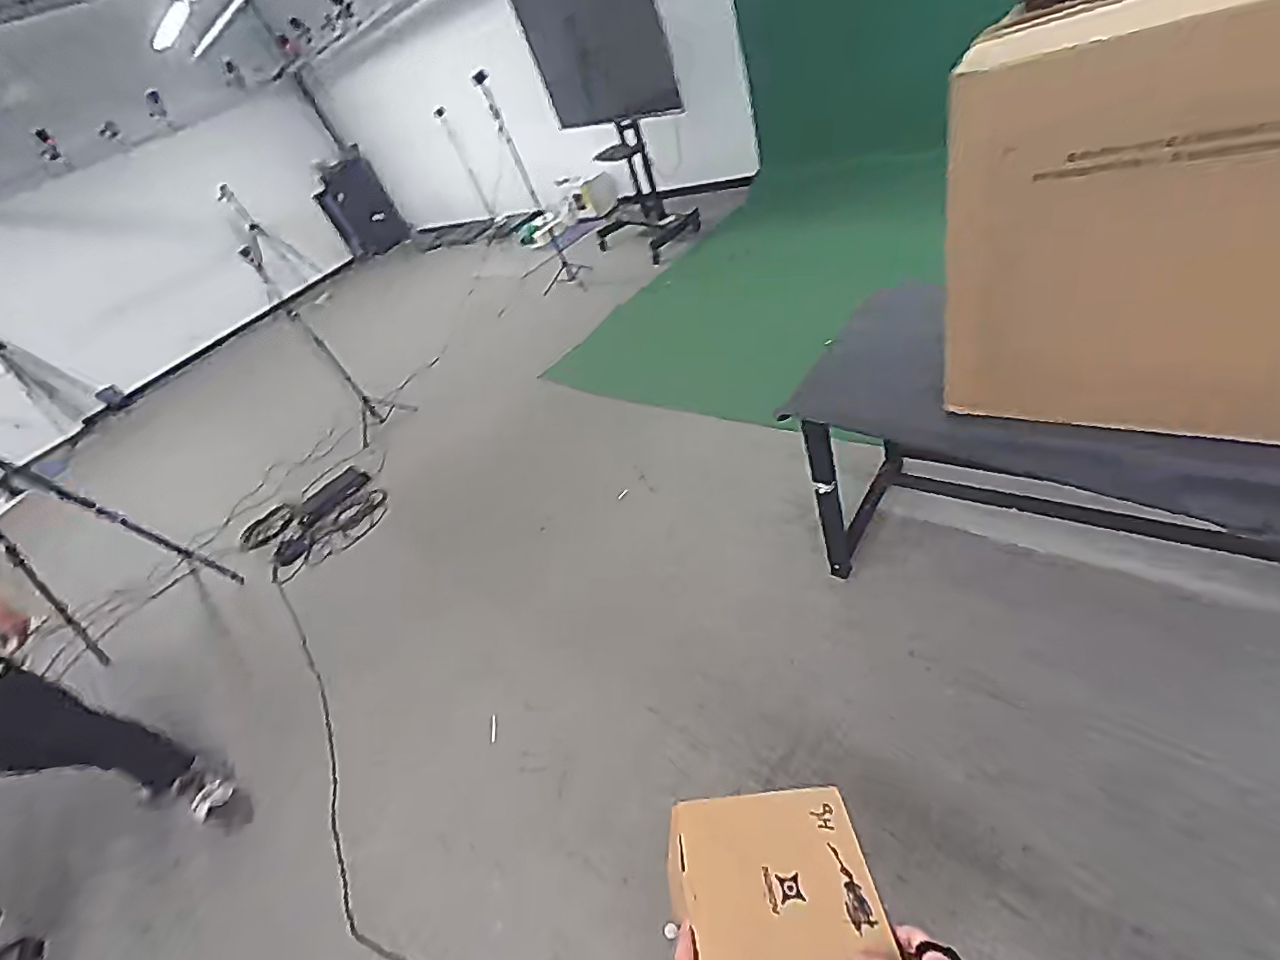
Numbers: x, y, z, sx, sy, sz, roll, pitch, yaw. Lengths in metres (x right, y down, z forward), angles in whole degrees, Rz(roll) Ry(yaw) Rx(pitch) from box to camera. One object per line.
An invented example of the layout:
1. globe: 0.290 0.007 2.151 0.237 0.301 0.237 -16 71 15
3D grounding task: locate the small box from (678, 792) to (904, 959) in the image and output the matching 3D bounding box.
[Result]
1. small box: 0.133 0.443 0.540 0.179 0.176 0.168 -2 35 -4
